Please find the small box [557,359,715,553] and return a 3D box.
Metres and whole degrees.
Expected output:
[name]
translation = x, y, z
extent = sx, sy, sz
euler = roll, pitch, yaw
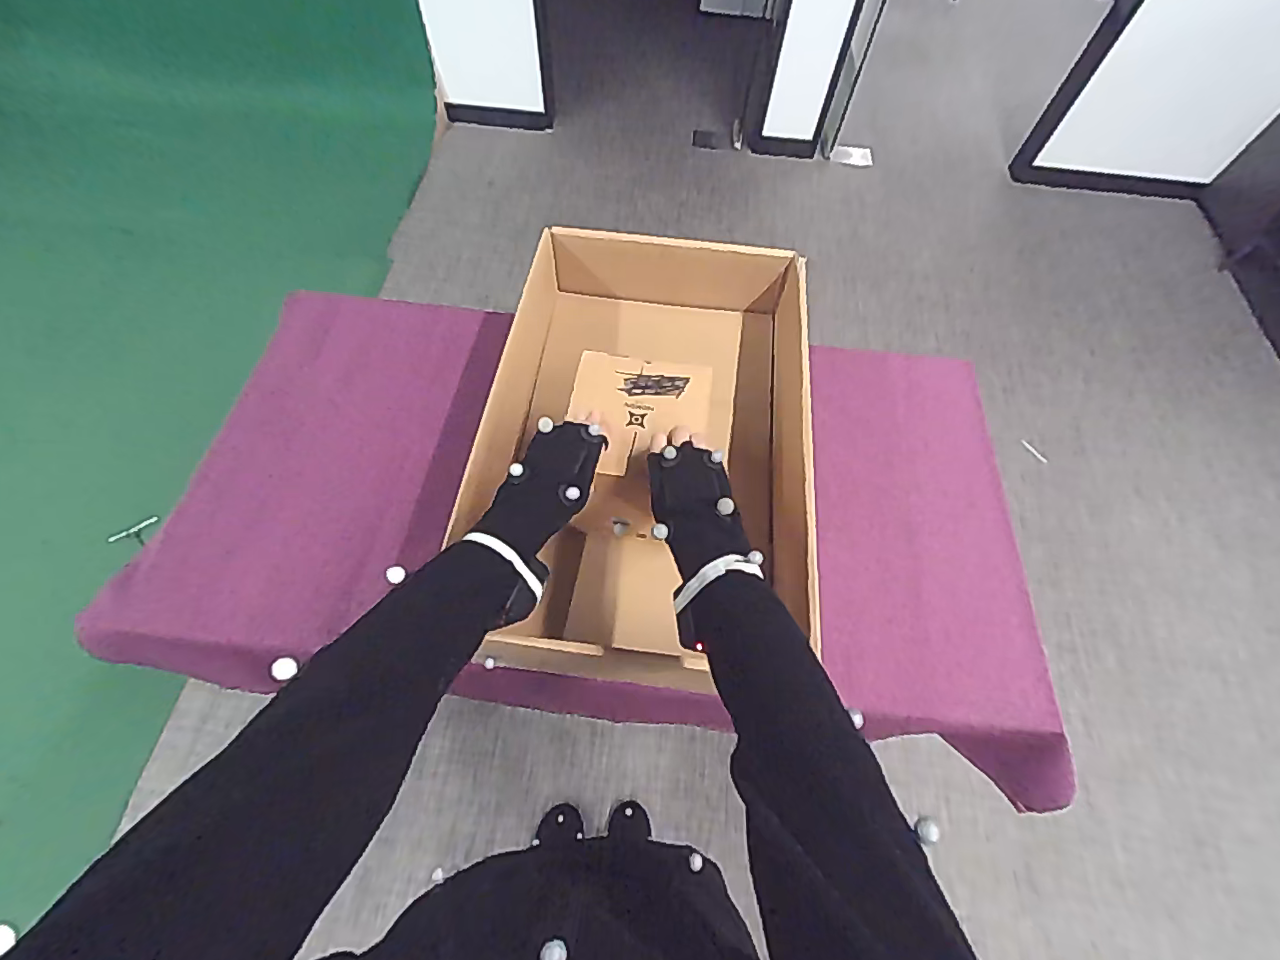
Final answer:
[small box]
translation = -0.003, -0.026, 0.699
extent = 0.168, 0.176, 0.179
euler = 8, 60, 2
